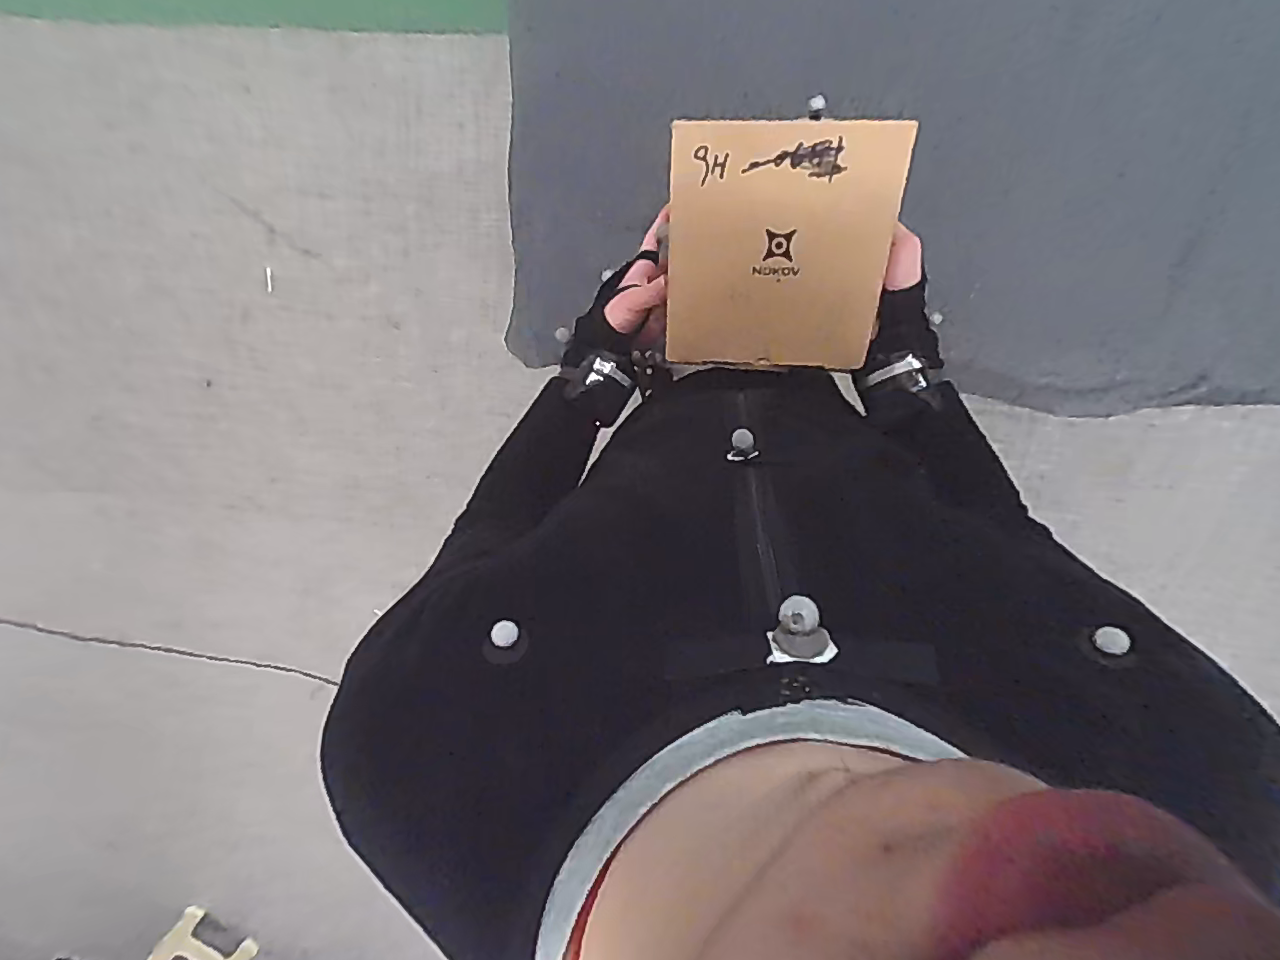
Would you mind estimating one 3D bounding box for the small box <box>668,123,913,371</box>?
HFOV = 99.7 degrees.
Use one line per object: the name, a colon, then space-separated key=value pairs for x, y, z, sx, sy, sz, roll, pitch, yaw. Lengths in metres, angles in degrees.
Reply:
small box: x=0.115 y=-0.216 z=0.491 sx=0.168 sy=0.176 sz=0.179 roll=3 pitch=124 yaw=4
